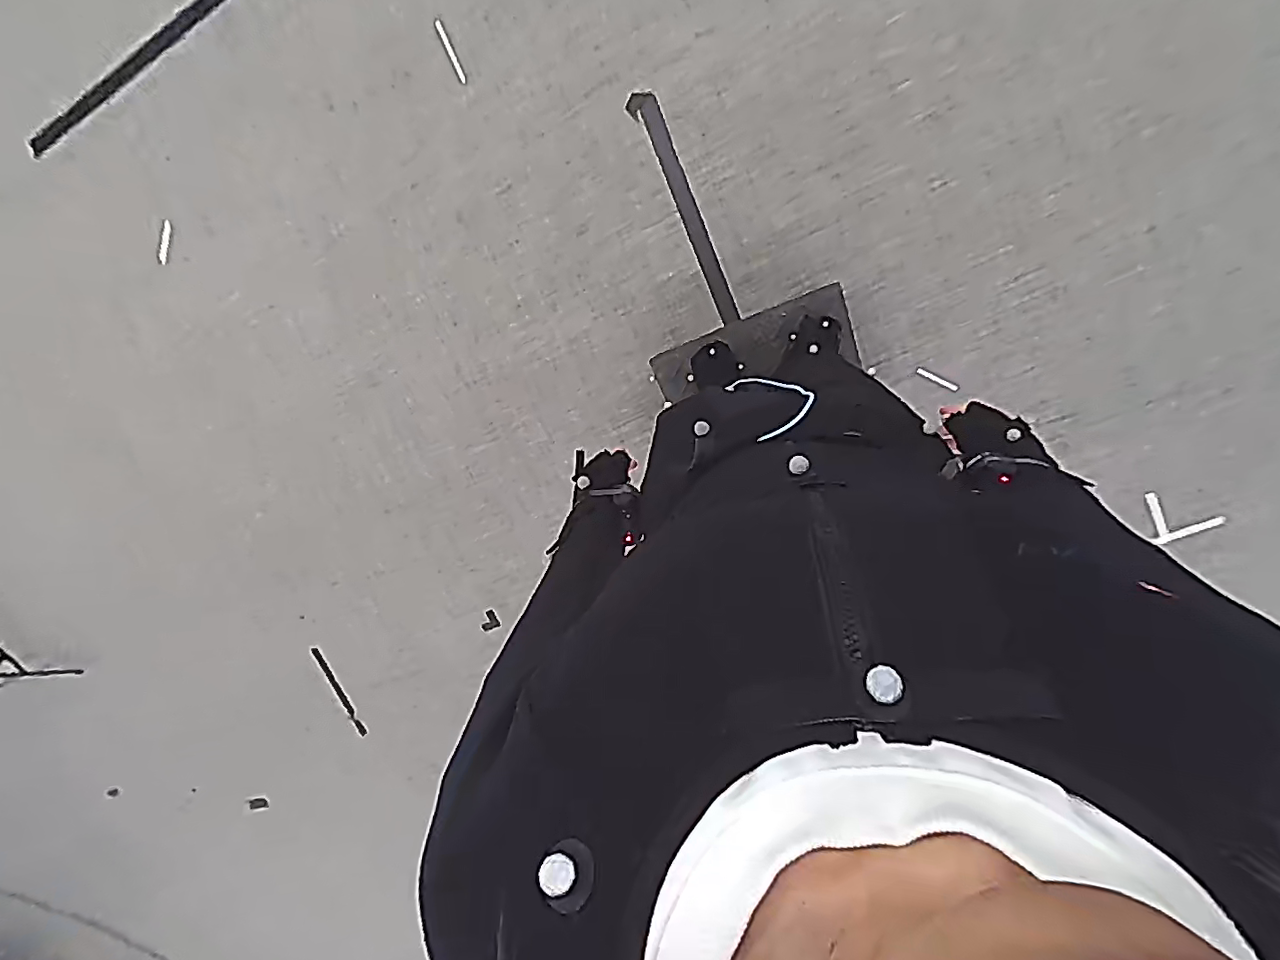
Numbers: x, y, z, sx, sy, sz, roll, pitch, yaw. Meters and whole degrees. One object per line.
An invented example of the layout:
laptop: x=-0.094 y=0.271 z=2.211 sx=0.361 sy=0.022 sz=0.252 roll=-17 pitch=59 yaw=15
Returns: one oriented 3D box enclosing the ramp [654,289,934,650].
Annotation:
ramp: x=0.461 y=0.042 z=1.508 sx=0.509 sy=0.206 sz=0.991 roll=-23 pitch=100 yaw=13
